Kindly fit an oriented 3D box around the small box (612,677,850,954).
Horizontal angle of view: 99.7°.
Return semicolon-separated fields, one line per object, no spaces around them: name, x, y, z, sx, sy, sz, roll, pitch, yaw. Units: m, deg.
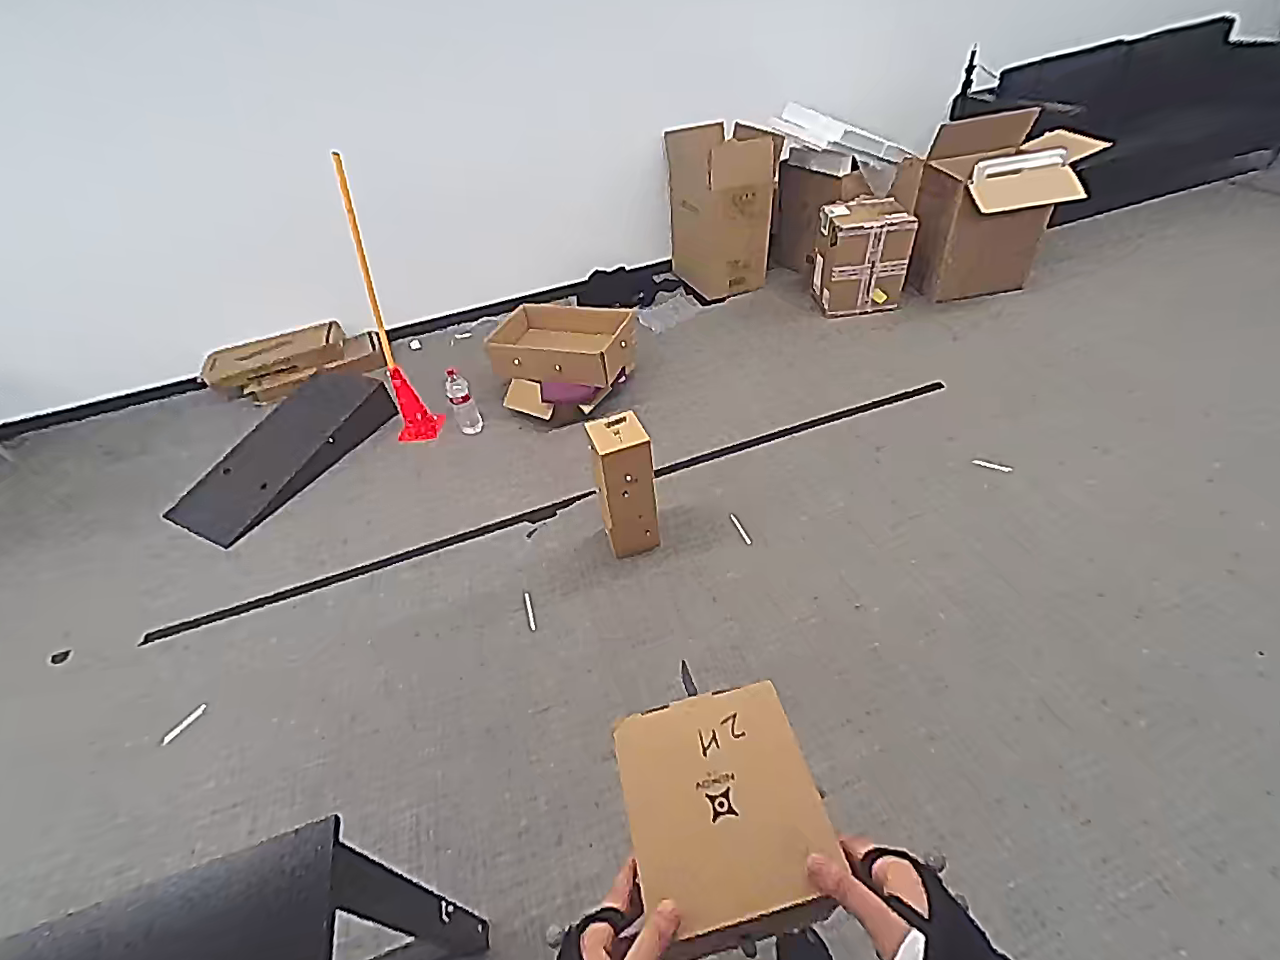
small box;0.078;0.329;0.527;0.168;0.176;0.179;-14;43;-5

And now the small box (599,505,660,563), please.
small box;-0.034;0.171;1.963;0.179;0.176;0.168;-18;42;-9

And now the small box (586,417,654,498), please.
small box;-0.065;-0.073;1.744;0.168;0.176;0.179;-18;43;-11

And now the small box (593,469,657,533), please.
small box;-0.050;0.051;1.853;0.168;0.176;0.179;-19;42;-11
